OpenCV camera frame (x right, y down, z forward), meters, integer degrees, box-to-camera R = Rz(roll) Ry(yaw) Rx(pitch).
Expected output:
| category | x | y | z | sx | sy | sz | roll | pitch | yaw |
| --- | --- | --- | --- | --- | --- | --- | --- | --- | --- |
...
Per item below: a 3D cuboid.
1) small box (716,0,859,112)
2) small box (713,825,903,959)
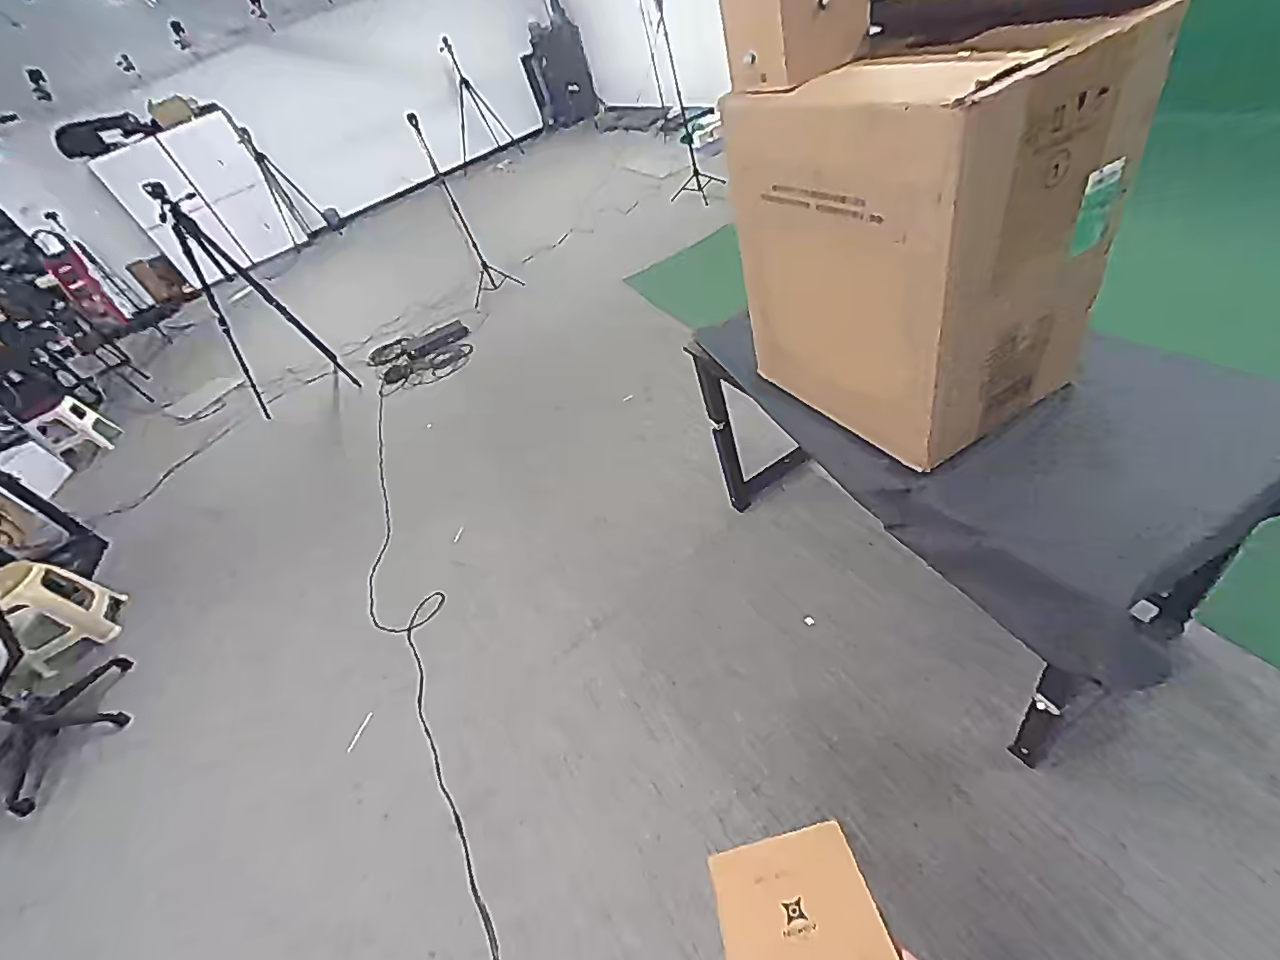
| category | x | y | z | sx | sy | sz | roll | pitch | yaw |
| --- | --- | --- | --- | --- | --- | --- | --- | --- | --- |
| small box | 0.259 | -0.765 | 0.937 | 0.179 | 0.176 | 0.168 | -30 | 39 | -9 |
| small box | 0.194 | 0.538 | 0.596 | 0.168 | 0.176 | 0.179 | -17 | 16 | 1 |
